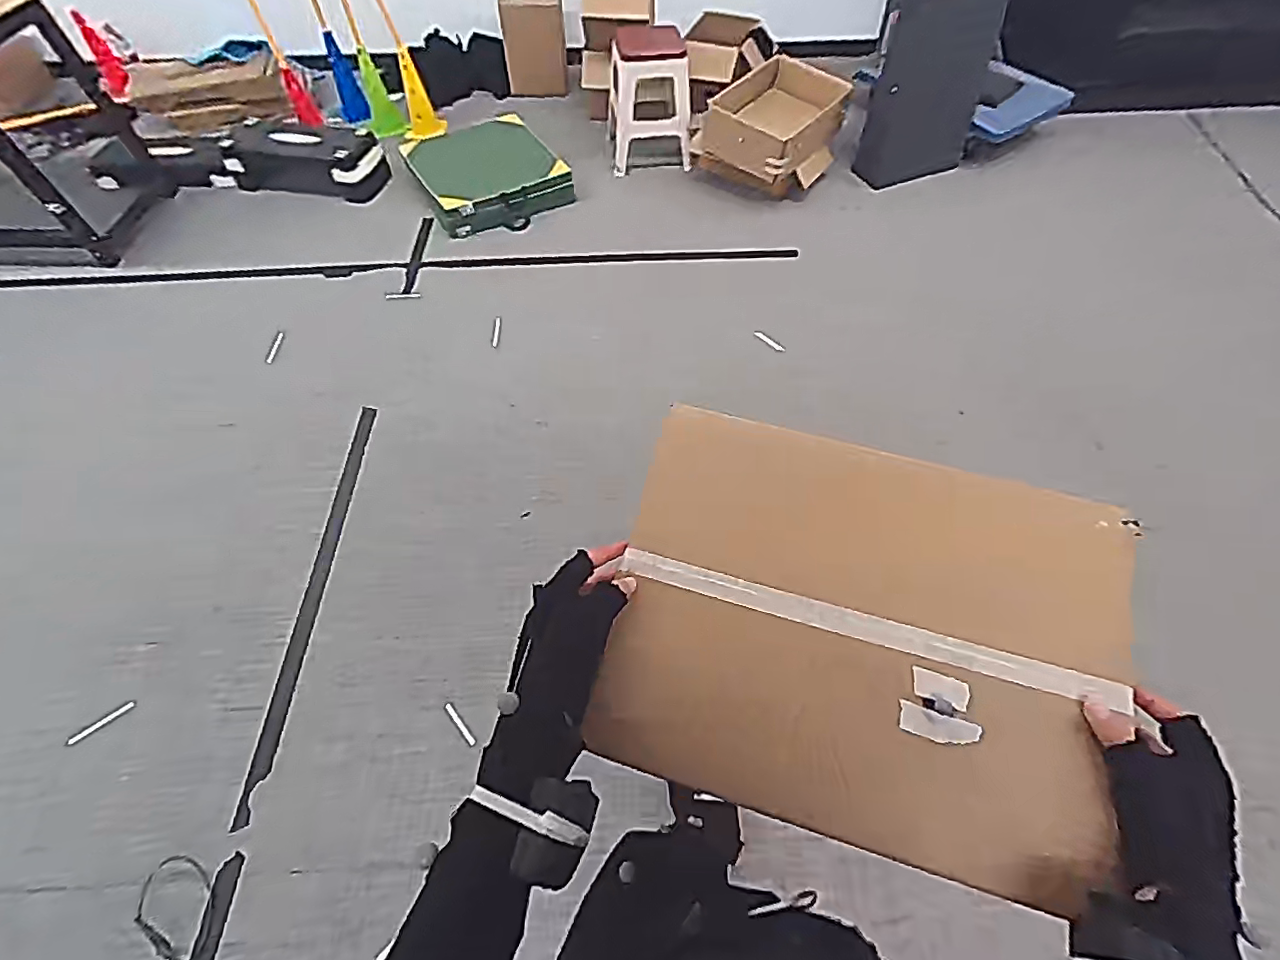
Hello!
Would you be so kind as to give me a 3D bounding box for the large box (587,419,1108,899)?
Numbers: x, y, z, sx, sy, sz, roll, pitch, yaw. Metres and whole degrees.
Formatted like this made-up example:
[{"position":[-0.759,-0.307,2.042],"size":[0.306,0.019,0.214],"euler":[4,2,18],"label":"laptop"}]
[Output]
[{"position":[0.192,0.170,0.608],"size":[0.408,0.320,0.320],"euler":[15,74,9],"label":"large box"}]
